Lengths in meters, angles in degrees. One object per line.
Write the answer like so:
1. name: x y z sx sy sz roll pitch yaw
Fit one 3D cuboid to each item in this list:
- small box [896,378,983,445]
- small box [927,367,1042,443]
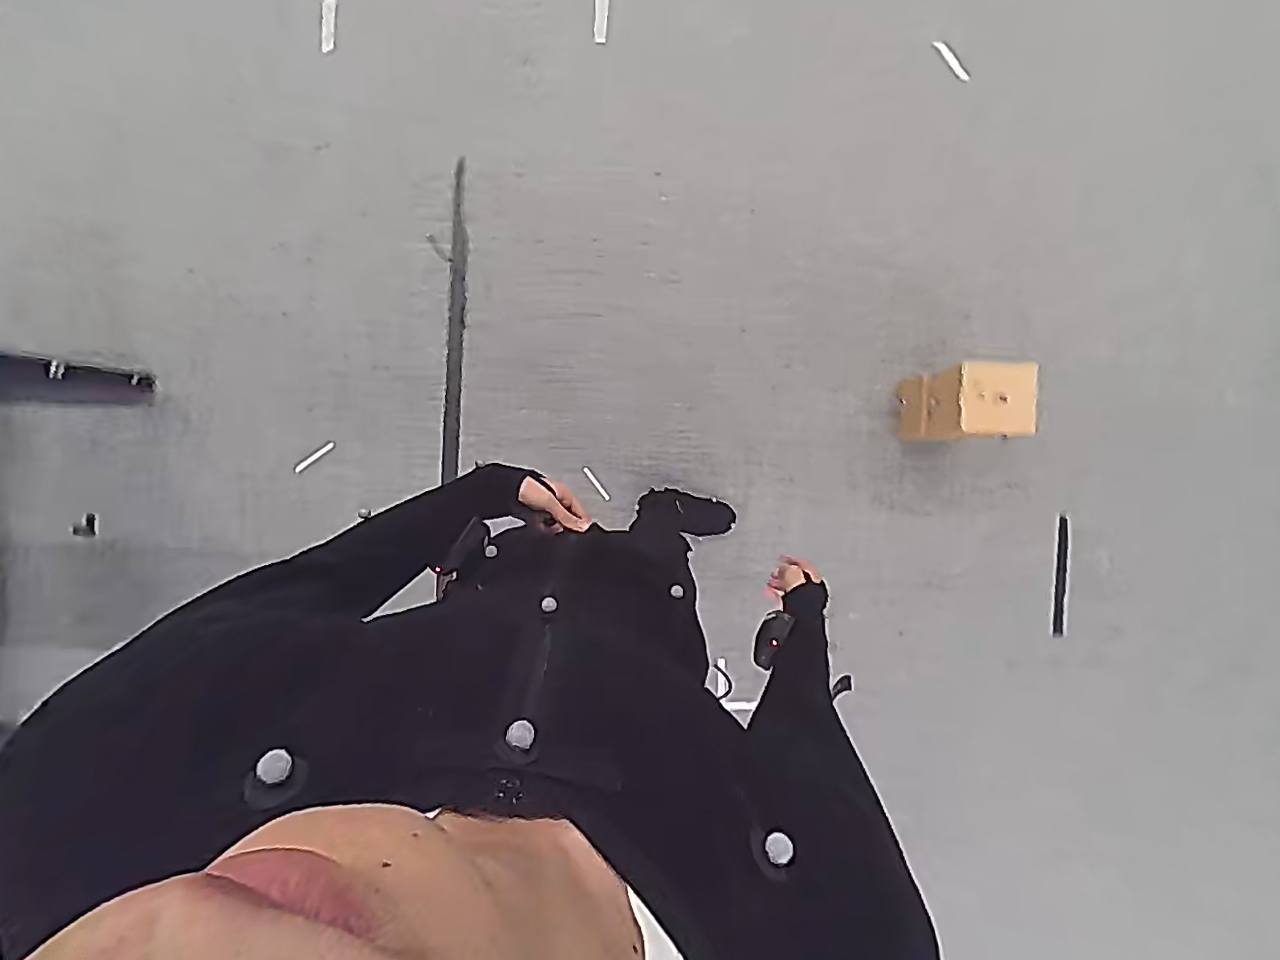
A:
1. small box: 0.842 -0.186 1.505 0.179 0.176 0.168 3 91 1
2. small box: 0.847 -0.181 1.341 0.179 0.176 0.168 3 90 2
